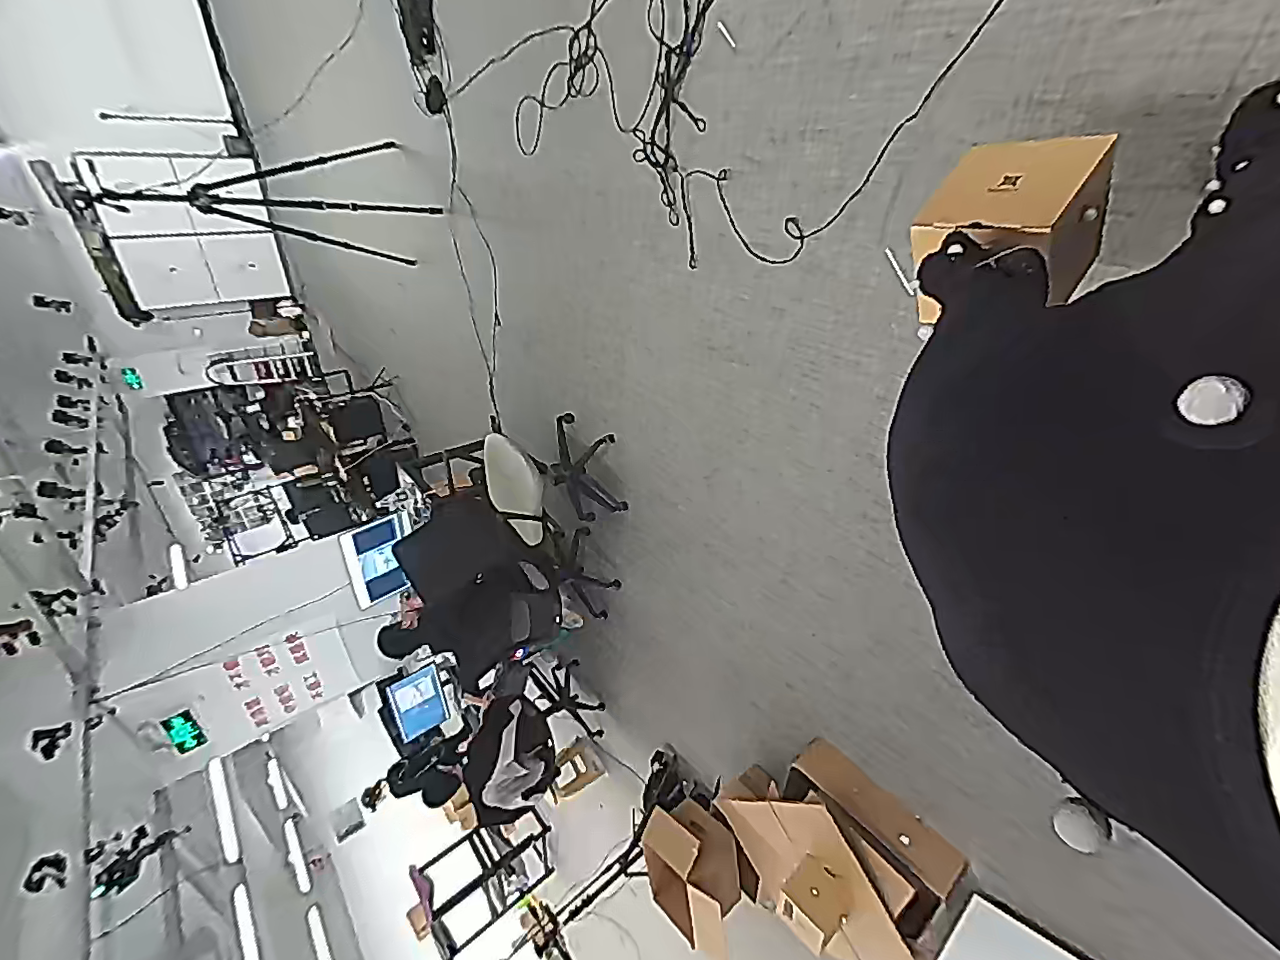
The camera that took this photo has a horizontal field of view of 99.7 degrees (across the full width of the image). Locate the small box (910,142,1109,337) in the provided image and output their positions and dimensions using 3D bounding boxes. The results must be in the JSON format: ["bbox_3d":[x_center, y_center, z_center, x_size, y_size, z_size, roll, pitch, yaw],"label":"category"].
[{"bbox_3d":[0.502,-0.330,0.751,0.168,0.179,0.176,27,162,44],"label":"small box"}]
